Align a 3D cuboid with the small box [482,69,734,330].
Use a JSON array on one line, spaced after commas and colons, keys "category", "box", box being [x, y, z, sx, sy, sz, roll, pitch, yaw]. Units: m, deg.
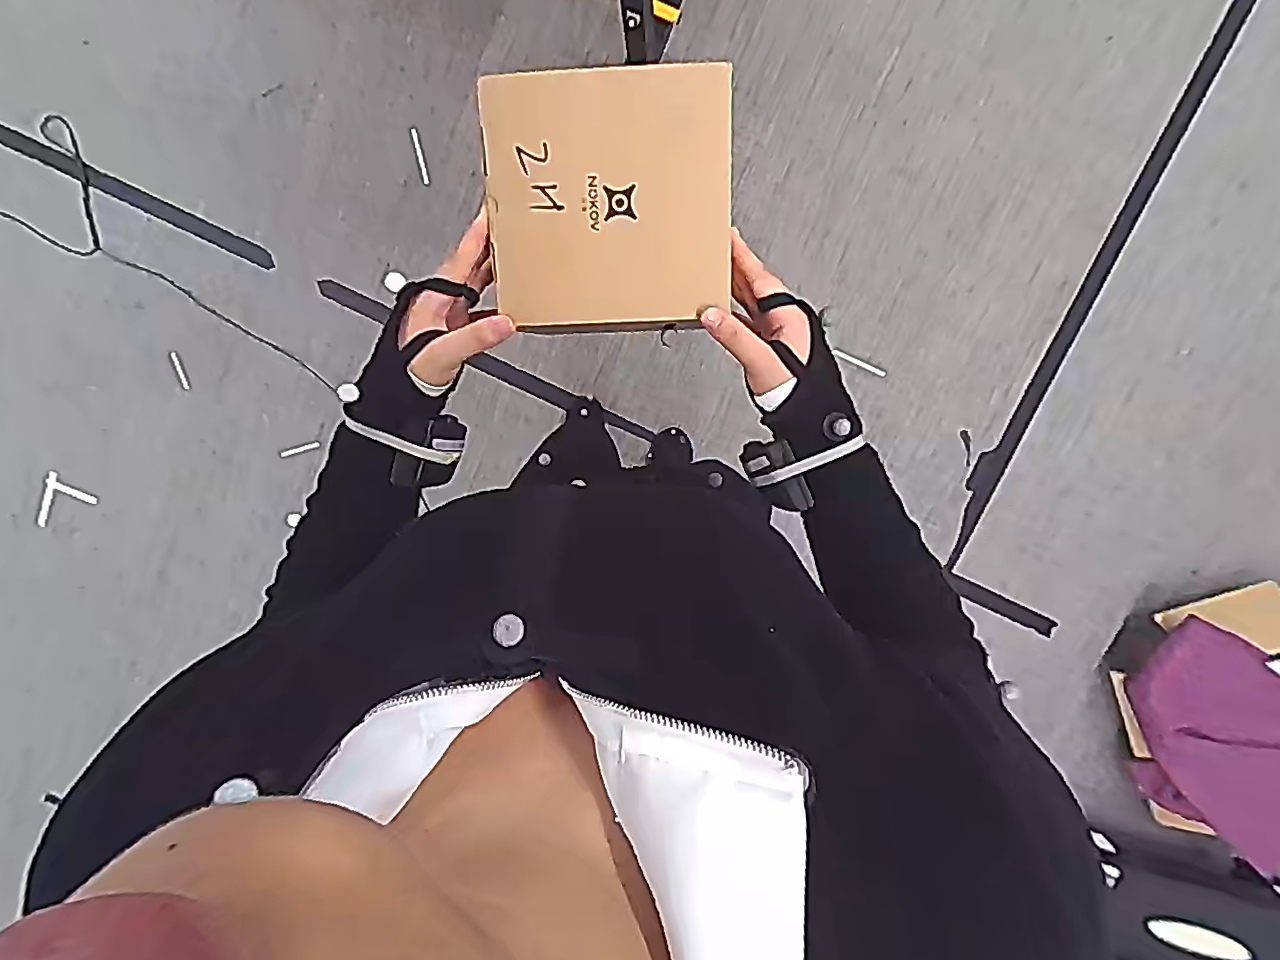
[{"category": "small box", "box": [-0.019, -0.218, 0.465, 0.179, 0.176, 0.168, -1, 103, 2]}]
